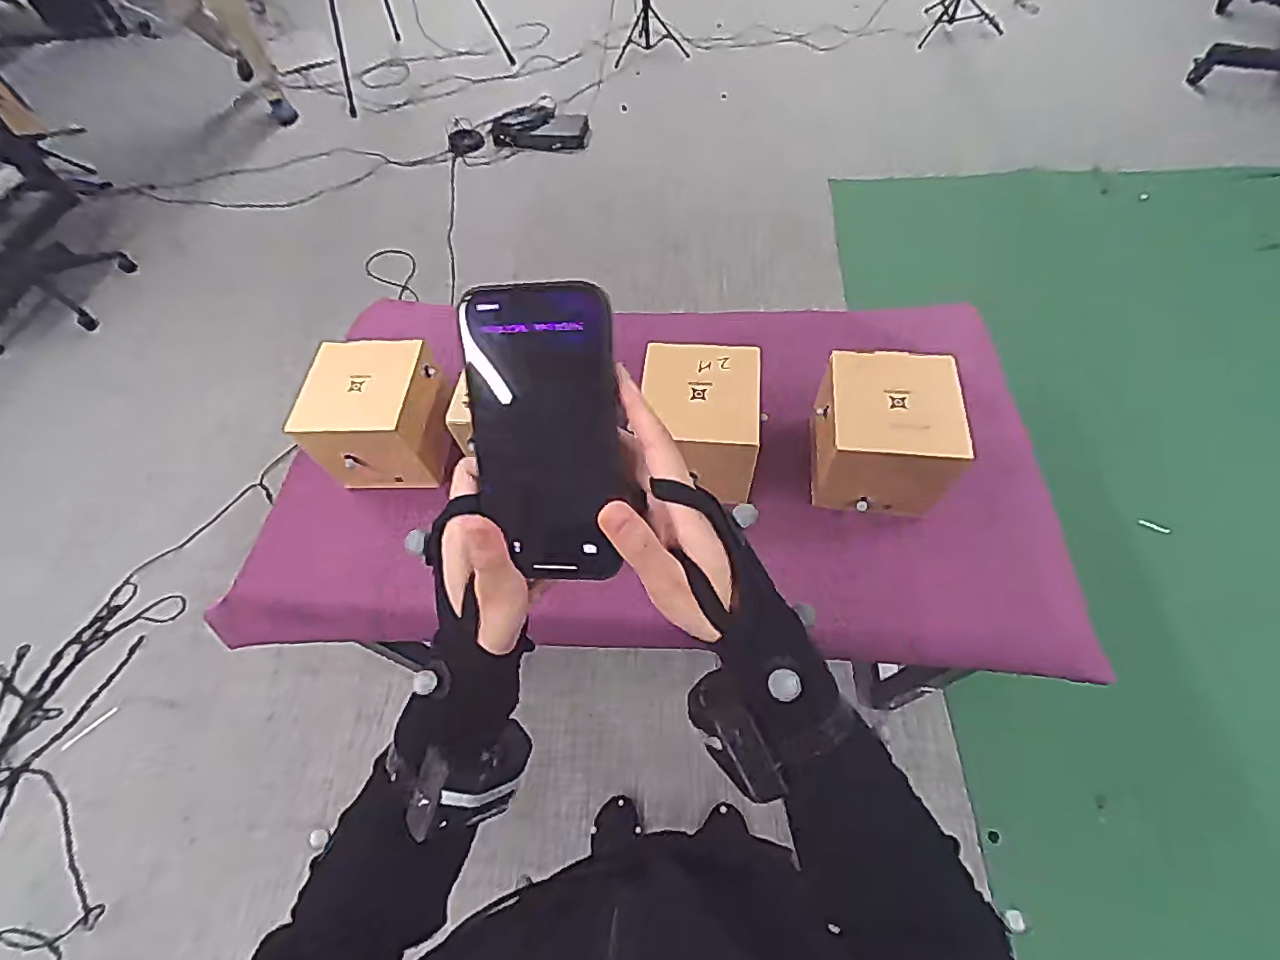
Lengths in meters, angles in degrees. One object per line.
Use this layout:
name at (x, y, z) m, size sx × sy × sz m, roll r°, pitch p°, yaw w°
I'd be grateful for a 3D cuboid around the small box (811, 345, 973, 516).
small box at (0.347, -0.069, 0.784) m, size 0.168 × 0.176 × 0.179 m, roll 5°, pitch 59°, yaw 9°

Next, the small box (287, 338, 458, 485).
small box at (-0.409, -0.102, 0.864) m, size 0.168 × 0.176 × 0.179 m, roll -1°, pitch 58°, yaw 4°

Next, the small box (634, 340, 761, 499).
small box at (0.089, -0.086, 0.813) m, size 0.168 × 0.176 × 0.179 m, roll 4°, pitch 59°, yaw 7°
